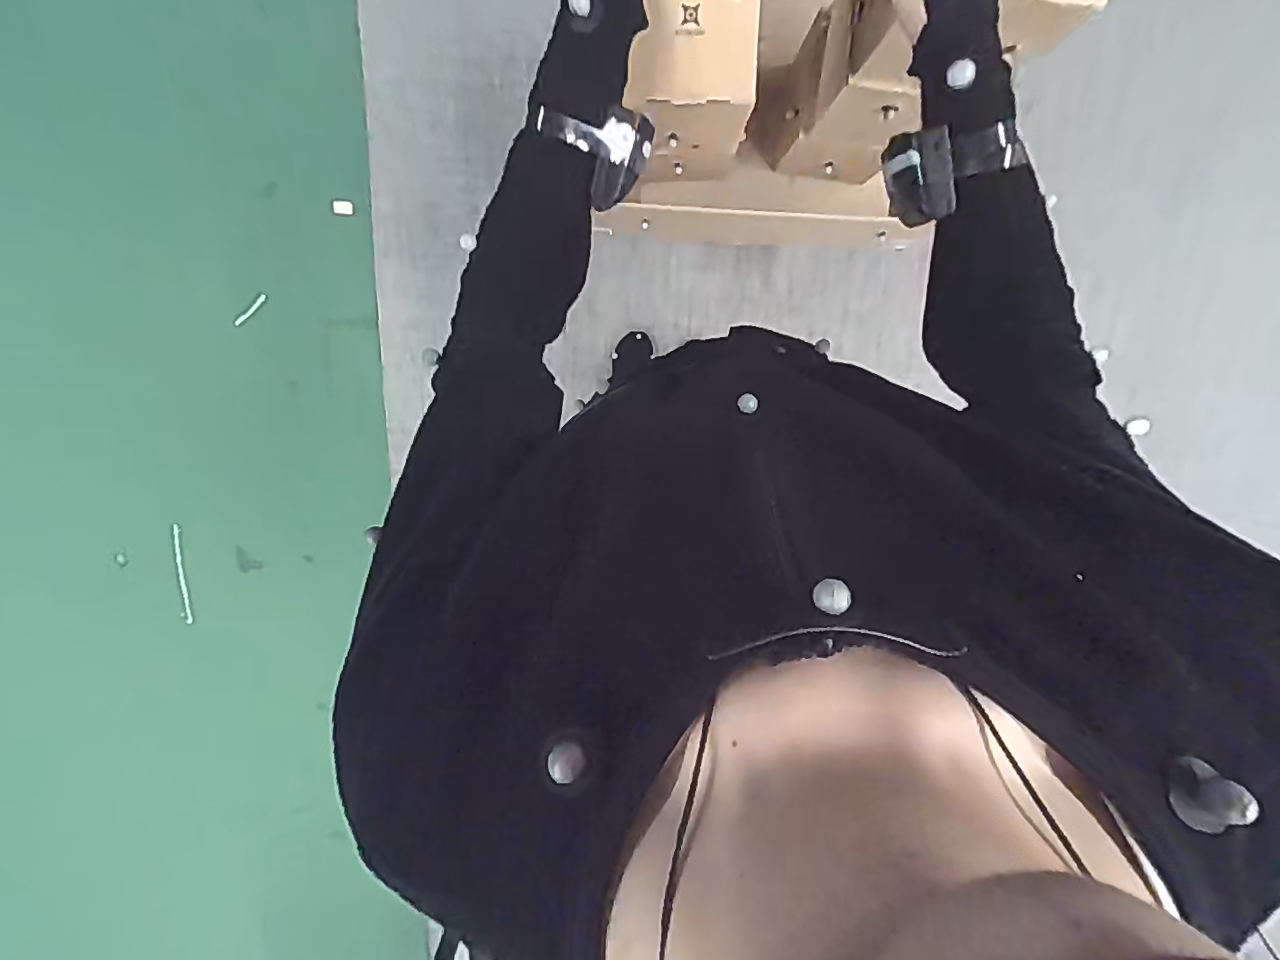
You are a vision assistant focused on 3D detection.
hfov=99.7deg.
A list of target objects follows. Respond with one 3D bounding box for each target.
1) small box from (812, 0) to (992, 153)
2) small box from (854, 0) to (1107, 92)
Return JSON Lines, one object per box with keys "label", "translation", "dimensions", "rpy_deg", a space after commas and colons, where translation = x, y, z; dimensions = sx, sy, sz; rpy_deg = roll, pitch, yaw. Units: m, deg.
{"label": "small box", "translation": [0.342, -0.555, 0.710], "dimensions": [0.179, 0.176, 0.168], "rpy_deg": [7, 103, -1]}
{"label": "small box", "translation": [0.345, -0.529, 0.549], "dimensions": [0.179, 0.176, 0.168], "rpy_deg": [6, 102, 0]}
